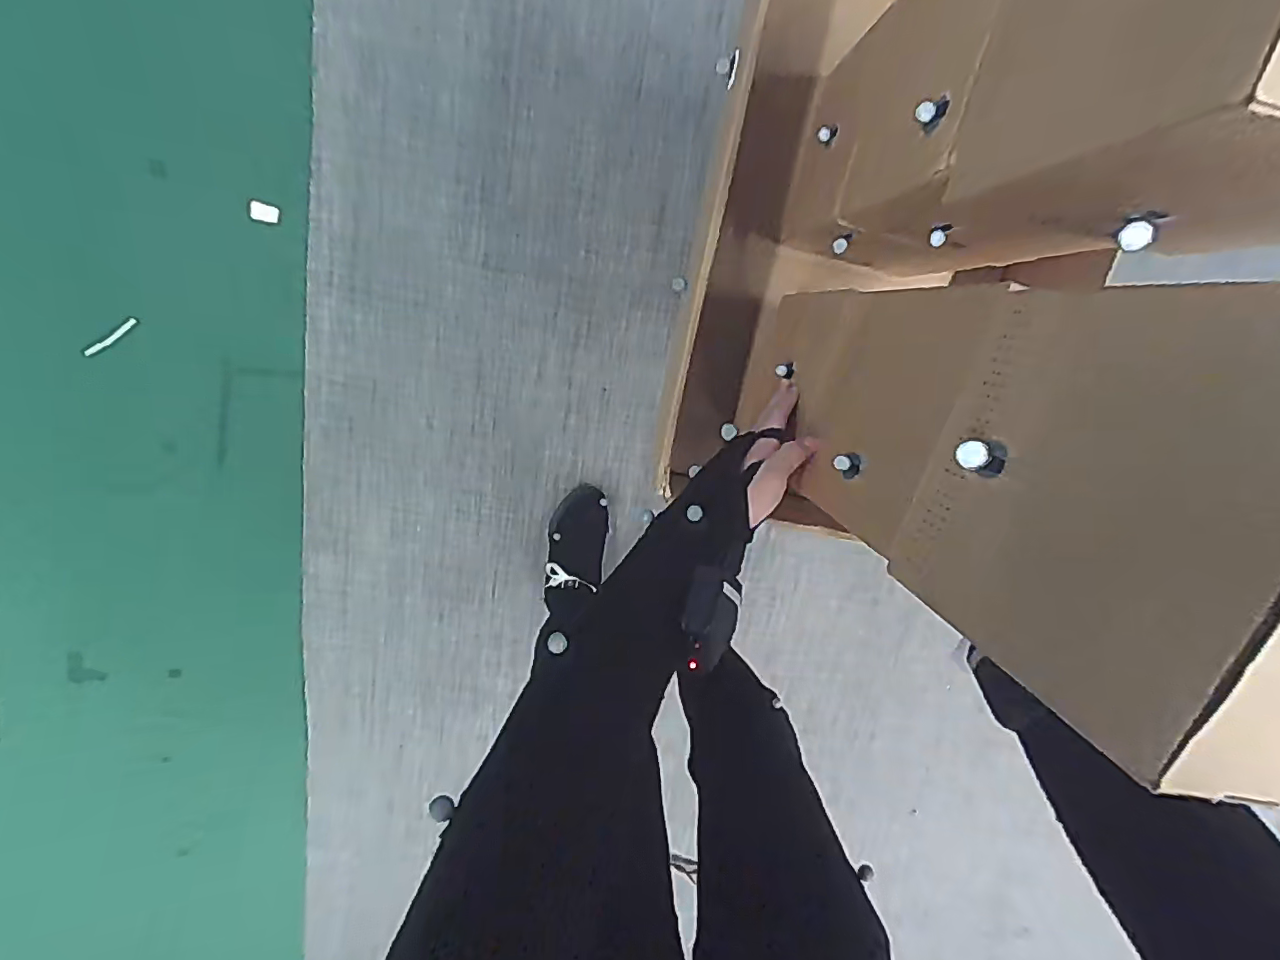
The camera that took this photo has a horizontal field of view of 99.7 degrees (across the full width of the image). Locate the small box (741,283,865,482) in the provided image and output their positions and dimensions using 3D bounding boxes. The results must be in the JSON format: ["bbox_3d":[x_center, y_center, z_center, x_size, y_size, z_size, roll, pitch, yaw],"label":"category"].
[{"bbox_3d":[0.218,-0.091,0.563,0.168,0.176,0.179,11,105,-10],"label":"small box"}]

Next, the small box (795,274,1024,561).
[{"bbox_3d":[0.239,-0.039,0.410,0.168,0.176,0.179,12,105,-11],"label":"small box"}]

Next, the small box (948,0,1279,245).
[{"bbox_3d":[0.271,-0.215,0.229,0.168,0.176,0.179,9,107,-5],"label":"small box"}]

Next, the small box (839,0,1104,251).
[{"bbox_3d":[0.266,-0.277,0.383,0.168,0.176,0.179,10,107,-6],"label":"small box"}]

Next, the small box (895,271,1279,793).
[{"bbox_3d":[0.256,0.014,0.255,0.168,0.176,0.179,12,106,-11],"label":"small box"}]
